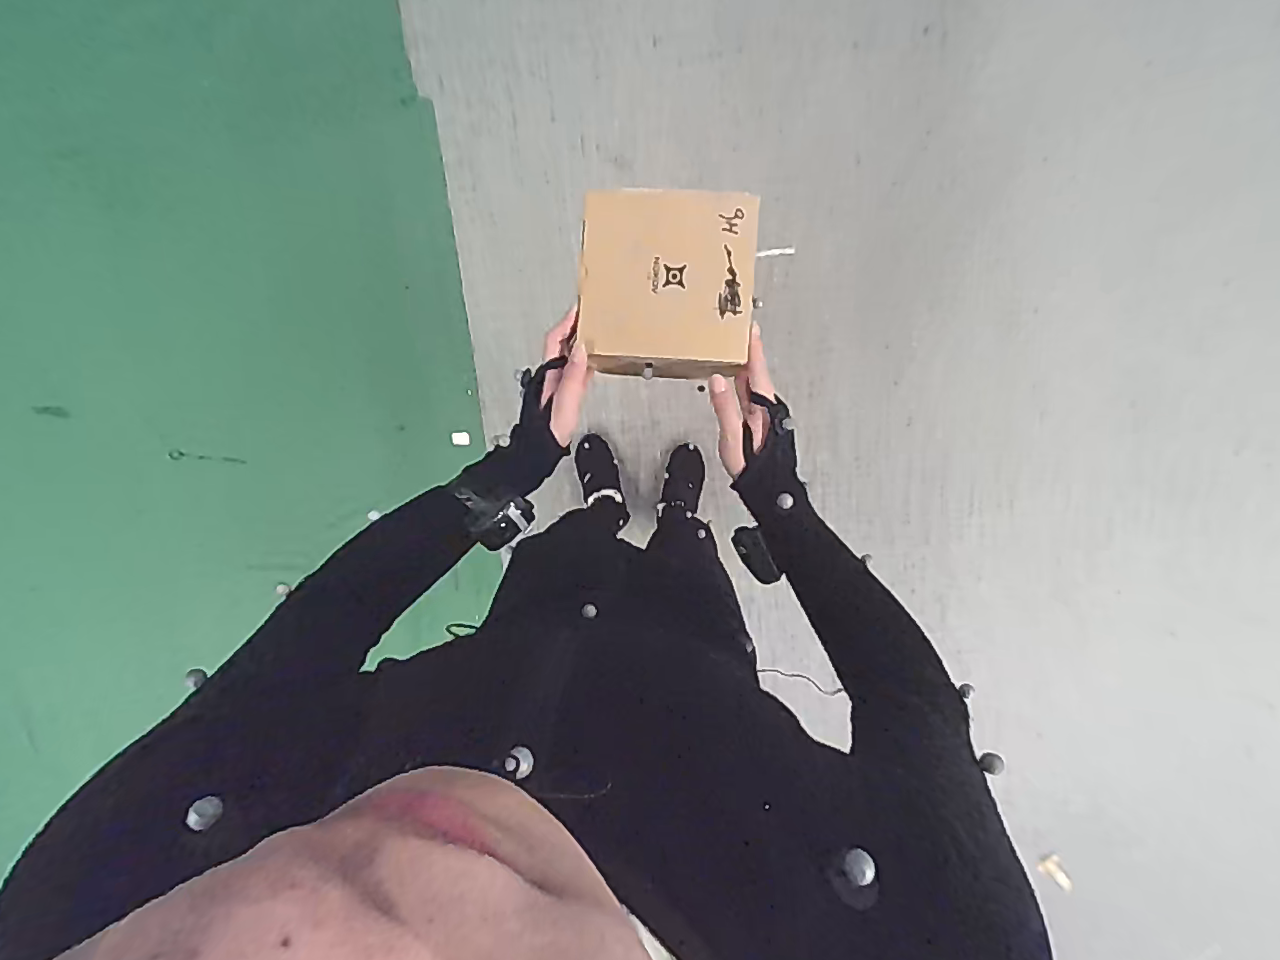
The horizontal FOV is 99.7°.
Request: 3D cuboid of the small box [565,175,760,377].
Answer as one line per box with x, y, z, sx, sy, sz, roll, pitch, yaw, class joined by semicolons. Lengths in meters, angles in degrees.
0.026;-0.208;0.592;0.179;0.176;0.168;5;95;4;small box
